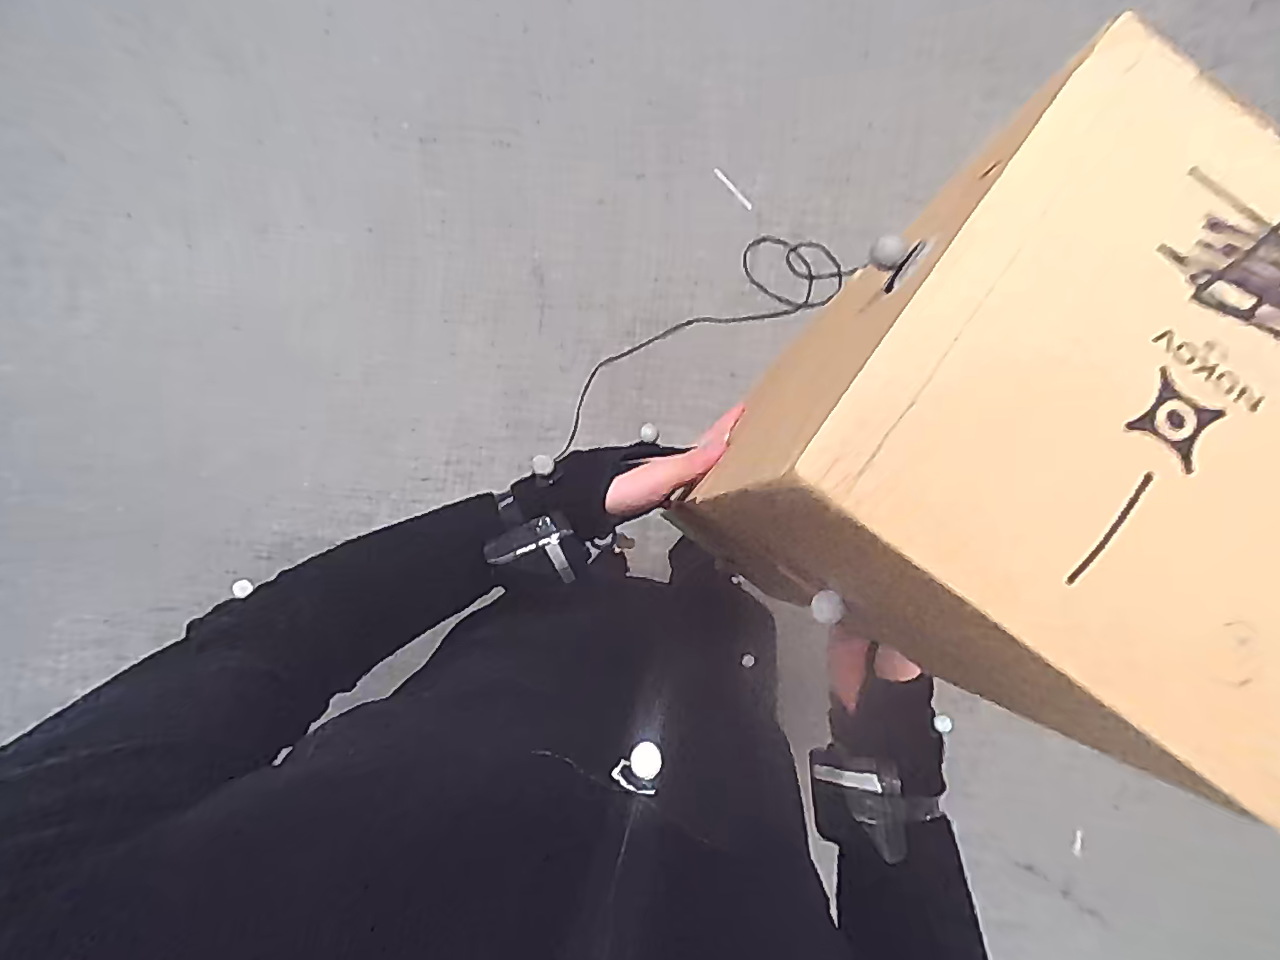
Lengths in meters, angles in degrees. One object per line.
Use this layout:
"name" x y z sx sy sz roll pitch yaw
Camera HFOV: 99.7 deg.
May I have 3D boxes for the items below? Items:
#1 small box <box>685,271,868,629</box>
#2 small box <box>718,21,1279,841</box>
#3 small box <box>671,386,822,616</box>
"small box" 0.146 -0.003 0.394 0.168 0.176 0.179 34 83 1
"small box" 0.152 -0.014 0.230 0.168 0.176 0.179 36 85 2
"small box" 0.144 0.012 0.556 0.168 0.176 0.179 36 84 3
